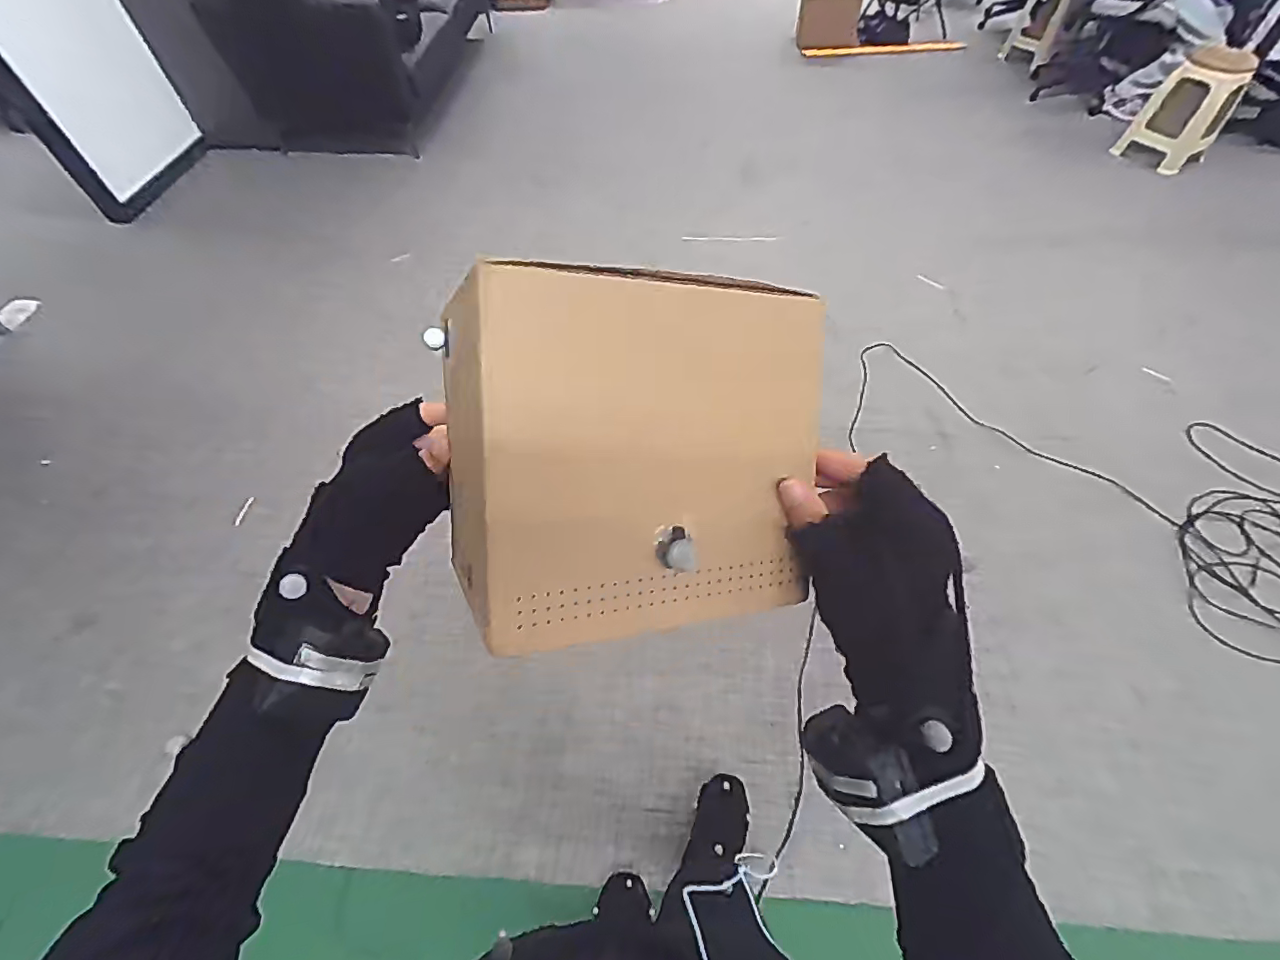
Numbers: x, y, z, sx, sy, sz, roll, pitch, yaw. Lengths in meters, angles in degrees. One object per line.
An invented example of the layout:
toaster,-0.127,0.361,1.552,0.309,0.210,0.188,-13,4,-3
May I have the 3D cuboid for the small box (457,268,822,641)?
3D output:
small box,-0.015,-0.018,0.338,0.179,0.176,0.168,-3,8,-25
